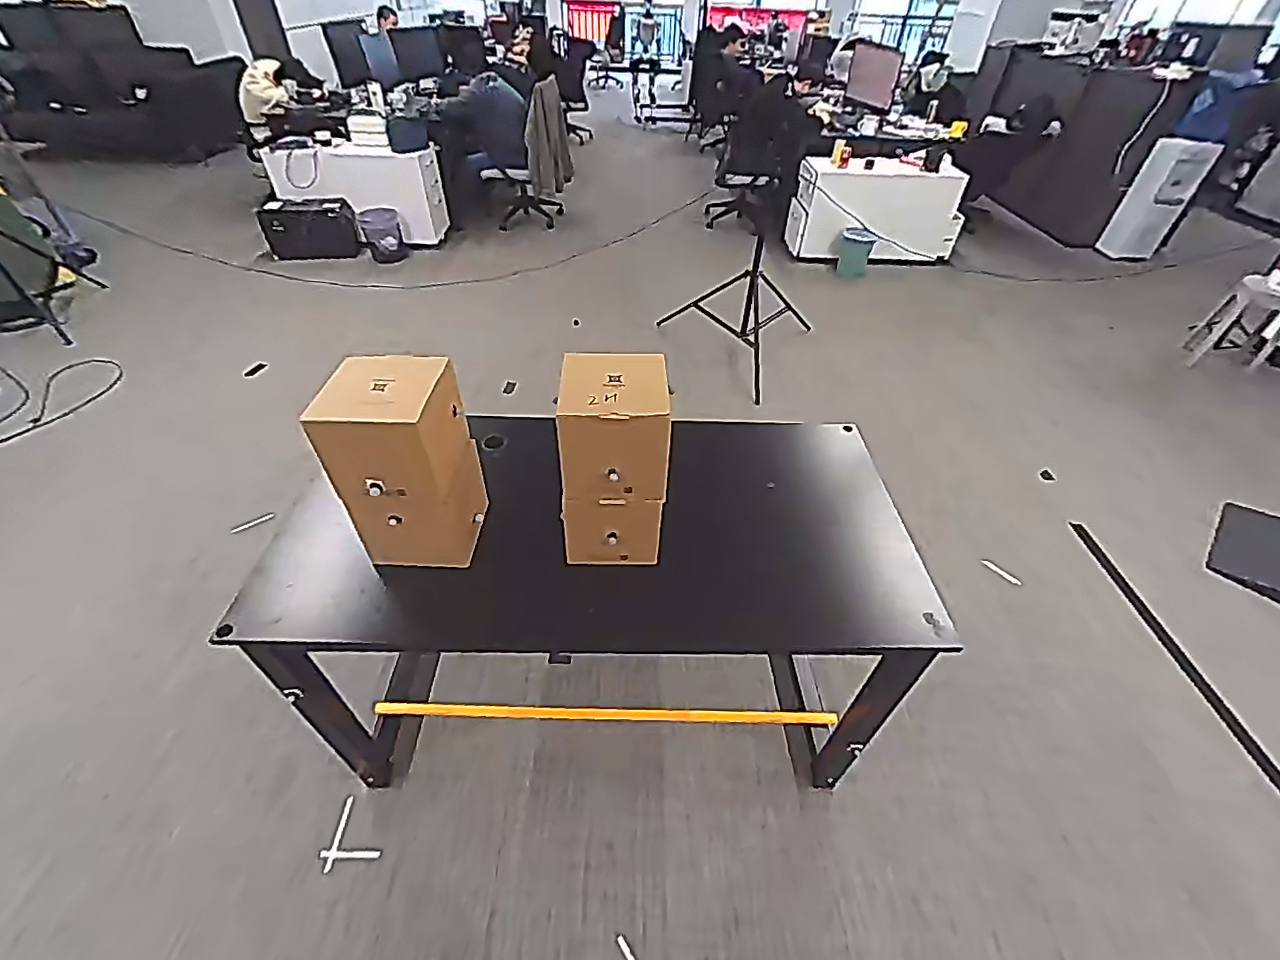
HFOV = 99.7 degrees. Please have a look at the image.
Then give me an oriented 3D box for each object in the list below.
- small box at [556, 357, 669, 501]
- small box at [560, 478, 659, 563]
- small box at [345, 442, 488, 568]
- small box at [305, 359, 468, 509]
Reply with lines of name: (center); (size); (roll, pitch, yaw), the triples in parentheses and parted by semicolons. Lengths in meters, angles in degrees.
small box: (-0.043, -0.086, 0.890); (0.168, 0.176, 0.179); (0, 43, -2)
small box: (-0.052, 0.040, 0.999); (0.168, 0.176, 0.179); (0, 43, -2)
small box: (-0.389, 0.043, 0.977); (0.179, 0.176, 0.168); (3, 43, -1)
small box: (-0.386, -0.075, 0.865); (0.168, 0.176, 0.179); (0, 44, 0)
